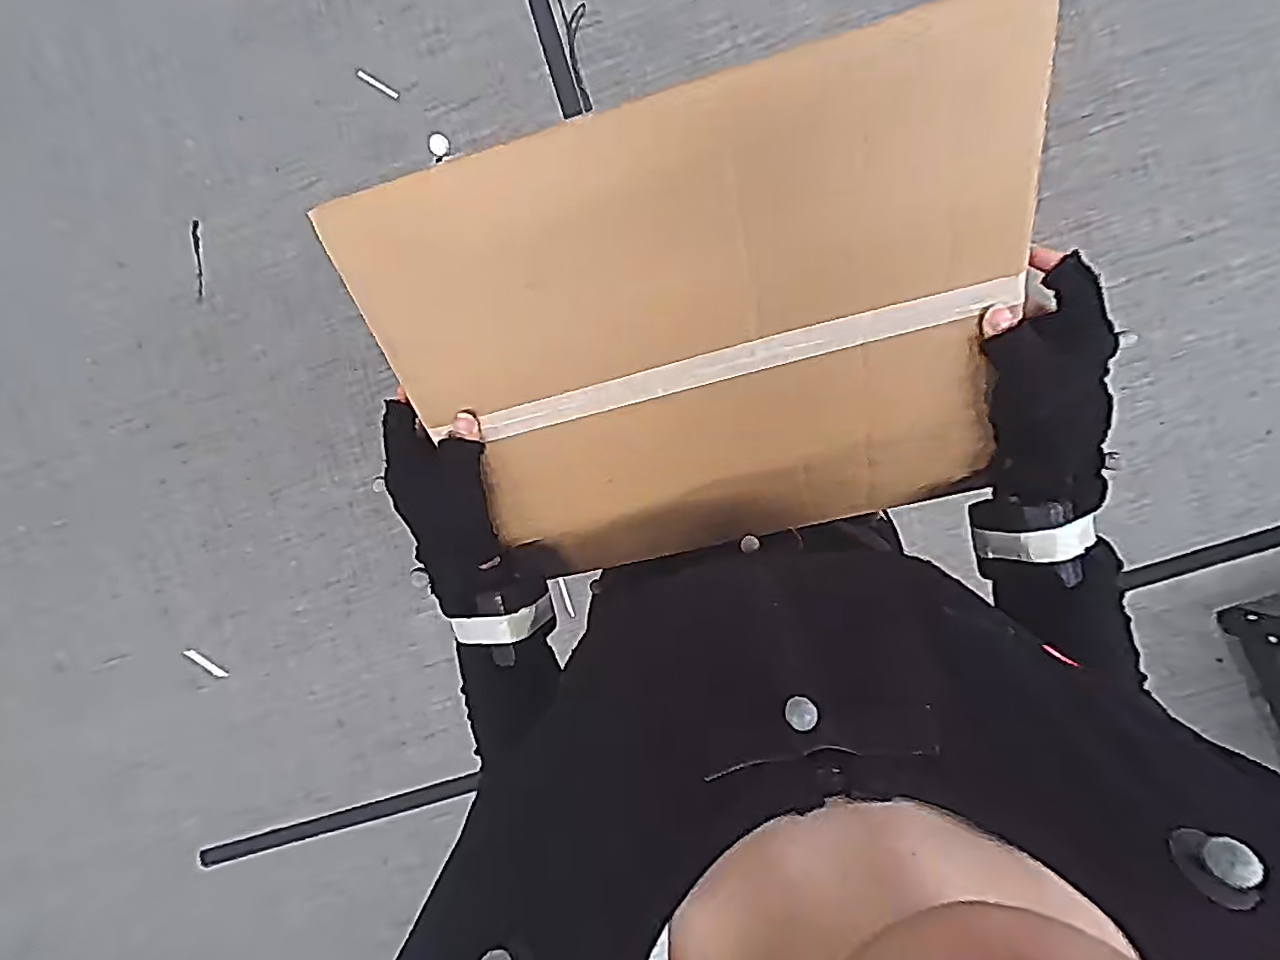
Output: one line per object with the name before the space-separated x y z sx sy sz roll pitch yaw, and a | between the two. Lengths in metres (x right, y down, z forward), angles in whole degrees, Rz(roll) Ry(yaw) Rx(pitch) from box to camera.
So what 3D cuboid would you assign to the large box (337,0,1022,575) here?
large box | 0.040 -0.162 0.503 0.408 0.320 0.320 -13 124 8
